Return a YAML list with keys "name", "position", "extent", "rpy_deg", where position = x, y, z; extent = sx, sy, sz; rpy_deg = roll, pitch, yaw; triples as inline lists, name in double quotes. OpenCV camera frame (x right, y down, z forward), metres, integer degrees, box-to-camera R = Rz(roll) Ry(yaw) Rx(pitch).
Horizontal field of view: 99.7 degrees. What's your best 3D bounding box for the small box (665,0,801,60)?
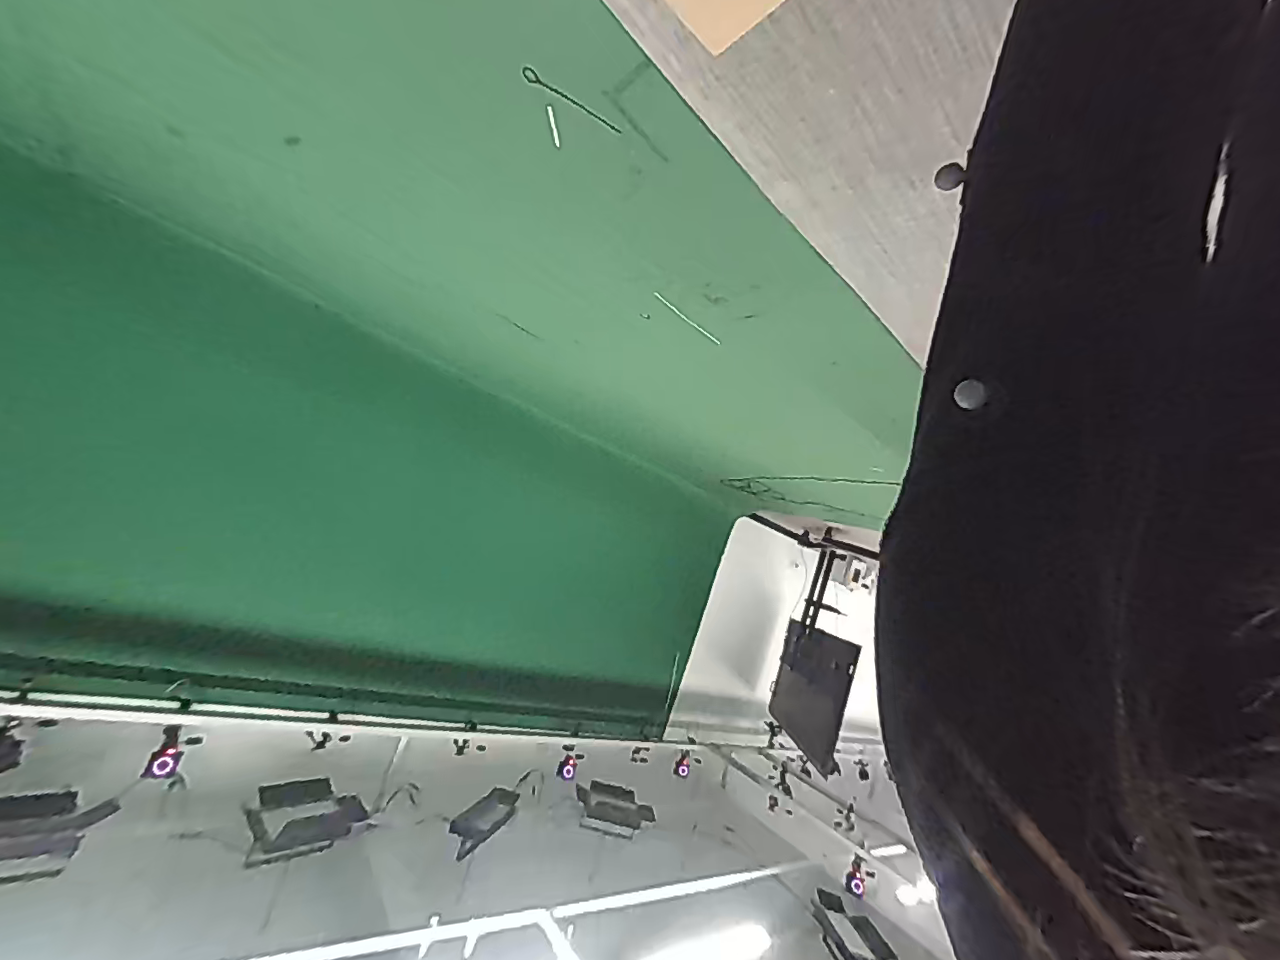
- name: "small box"
  position: [0.099, -0.568, 0.505]
  extent: [0.179, 0.176, 0.168]
  rpy_deg: [25, 170, -35]
